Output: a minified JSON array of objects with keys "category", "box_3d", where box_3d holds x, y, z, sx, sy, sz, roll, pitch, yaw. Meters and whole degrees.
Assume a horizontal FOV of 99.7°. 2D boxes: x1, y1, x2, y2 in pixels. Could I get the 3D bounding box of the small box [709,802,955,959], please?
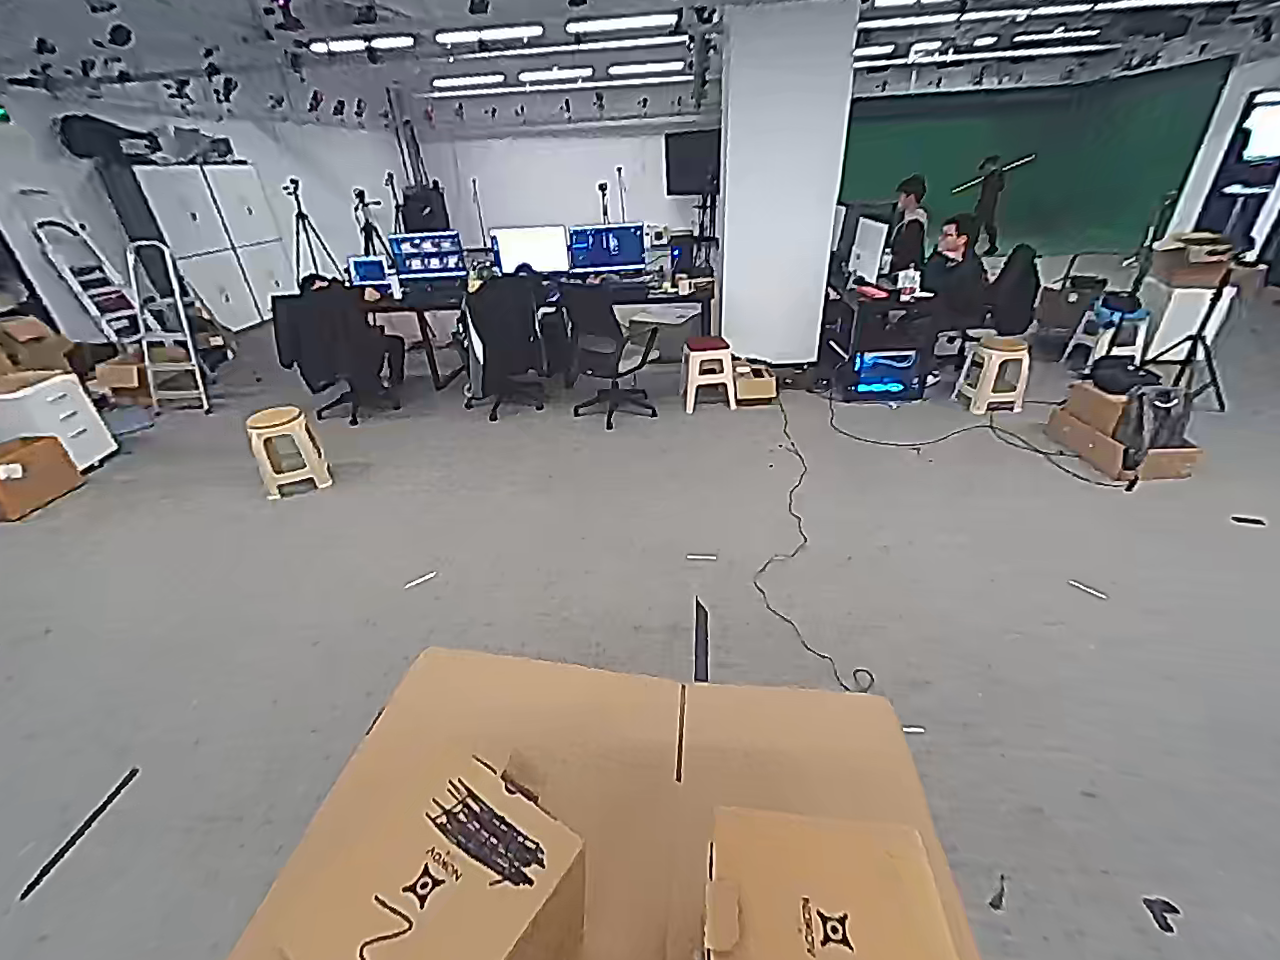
[{"category":"small box","box_3d":[0.146,0.405,0.449,0.179,0.176,0.168,0,28,8]}]
